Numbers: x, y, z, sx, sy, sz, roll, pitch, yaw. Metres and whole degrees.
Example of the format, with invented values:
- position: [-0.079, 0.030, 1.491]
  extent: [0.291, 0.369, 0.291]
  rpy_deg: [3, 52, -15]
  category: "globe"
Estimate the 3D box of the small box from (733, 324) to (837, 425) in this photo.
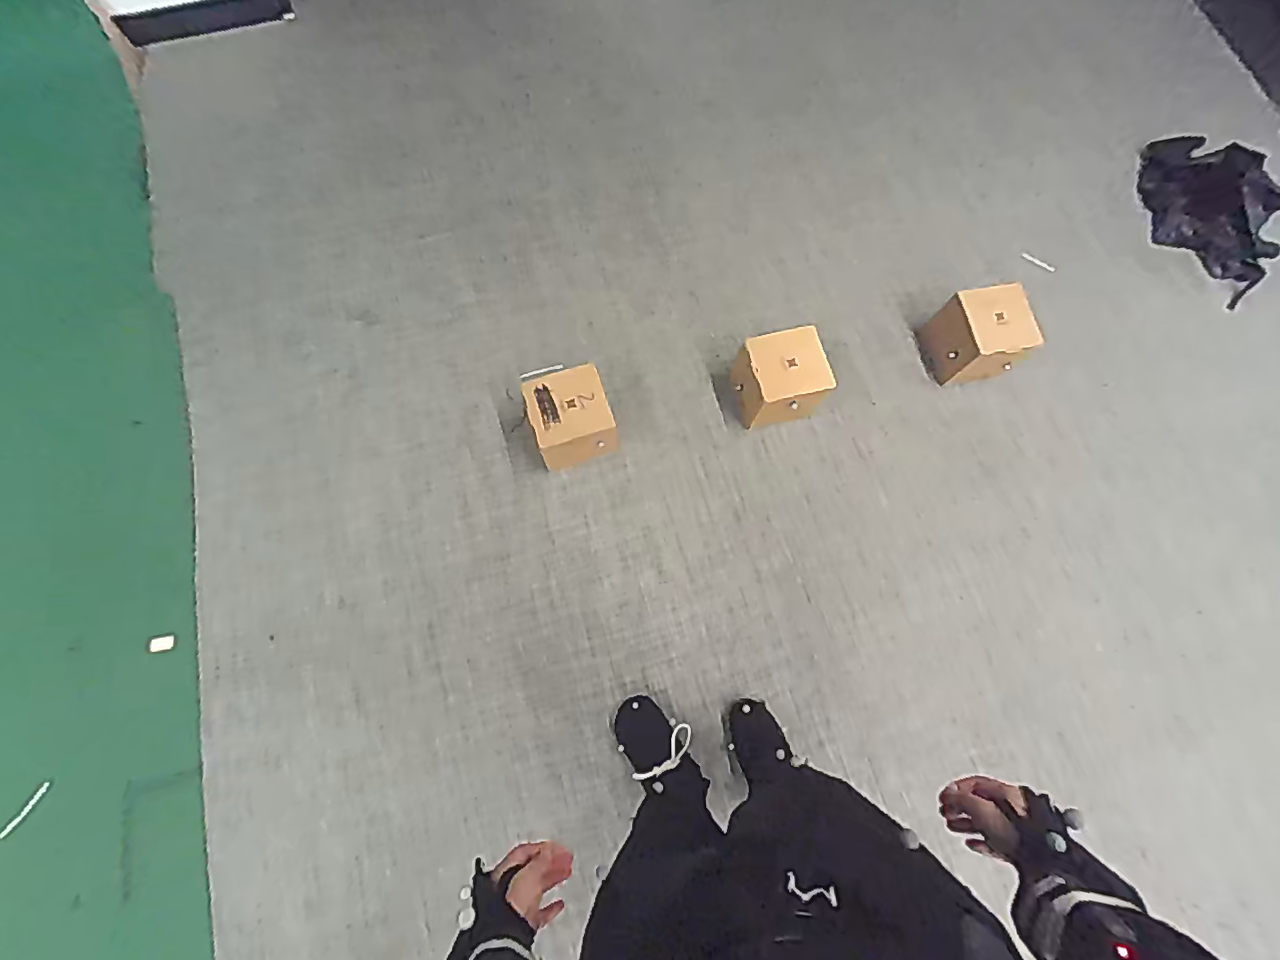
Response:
- position: [0.340, -0.248, 1.304]
  extent: [0.179, 0.176, 0.168]
  rpy_deg: [-13, 75, -5]
  category: "small box"

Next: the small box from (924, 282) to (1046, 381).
- position: [0.849, -0.361, 1.350]
  extent: [0.168, 0.176, 0.179]
  rpy_deg: [-9, 73, -5]
  category: "small box"
